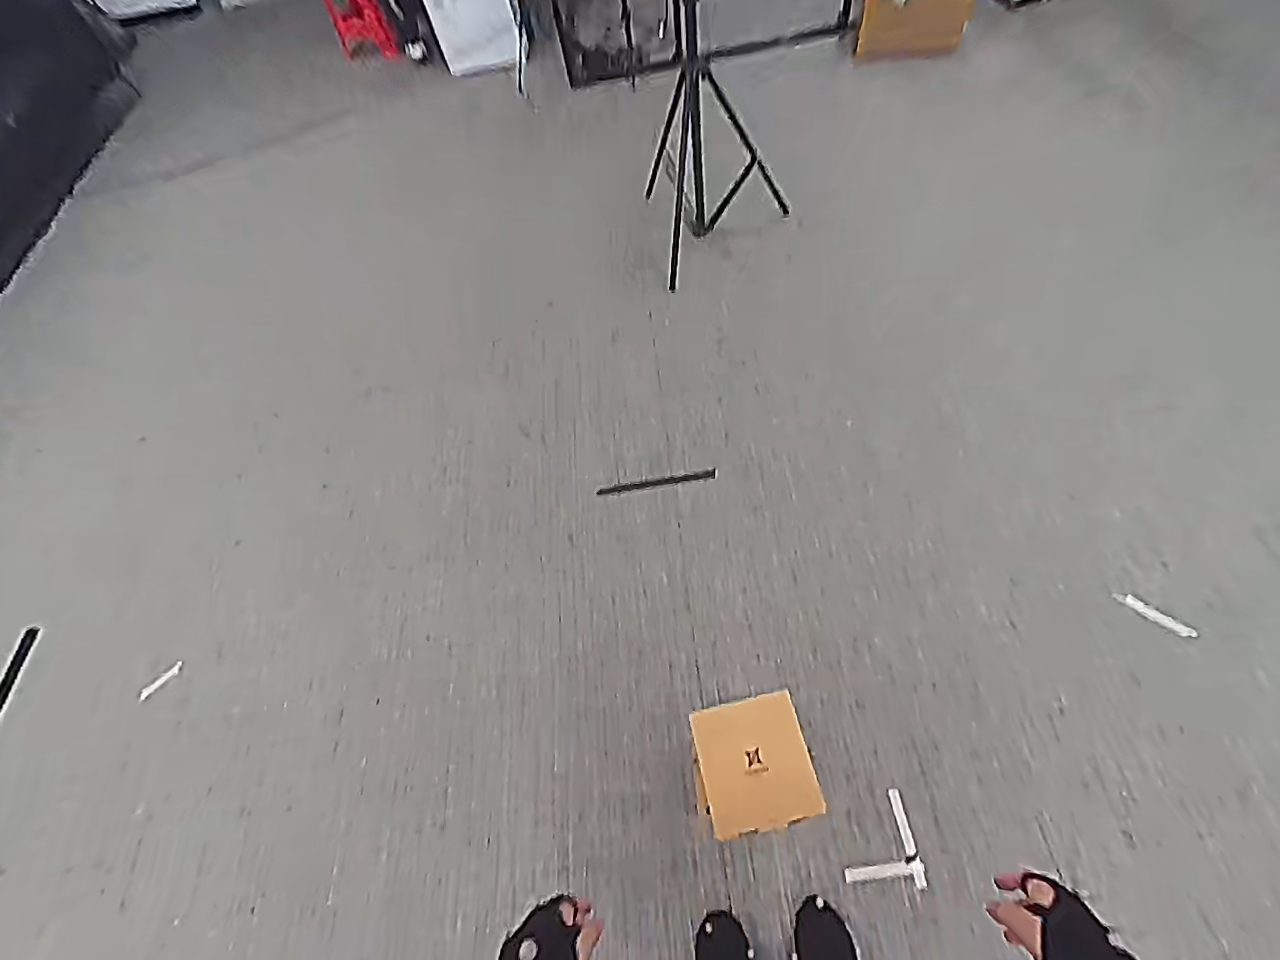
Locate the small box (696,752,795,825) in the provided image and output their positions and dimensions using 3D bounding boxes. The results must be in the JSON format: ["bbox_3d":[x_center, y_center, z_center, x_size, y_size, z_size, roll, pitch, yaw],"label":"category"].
[{"bbox_3d":[0.191,0.546,1.022,0.168,0.176,0.179,-5,60,7],"label":"small box"}]

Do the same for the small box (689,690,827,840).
[{"bbox_3d":[0.181,0.463,0.881,0.168,0.176,0.179,-15,60,1],"label":"small box"}]
